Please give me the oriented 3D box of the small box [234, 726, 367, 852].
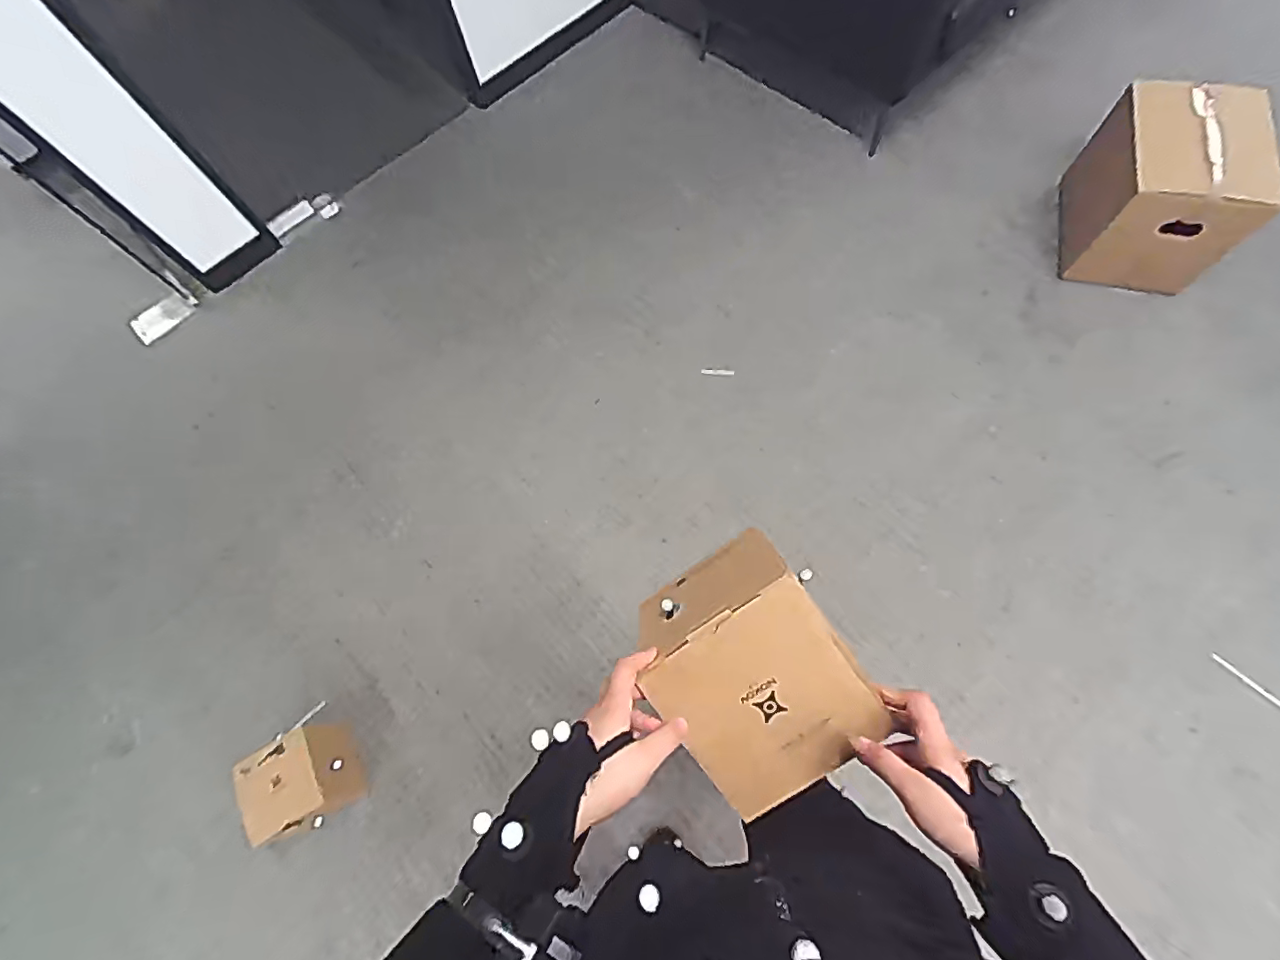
[{"bbox_3d":[-0.750,0.677,1.210,0.168,0.176,0.179,-31,70,-7],"label":"small box"}]
